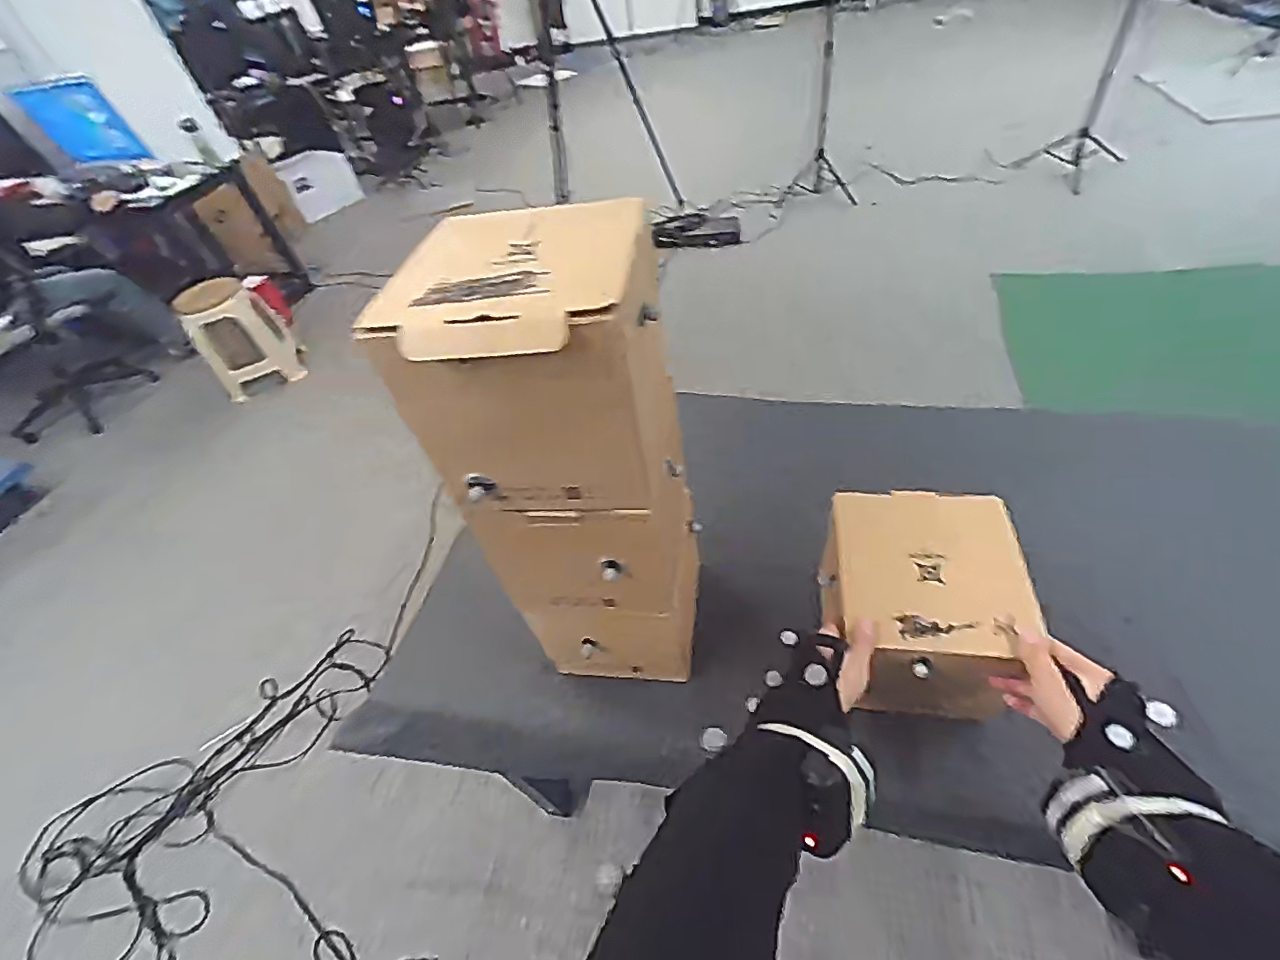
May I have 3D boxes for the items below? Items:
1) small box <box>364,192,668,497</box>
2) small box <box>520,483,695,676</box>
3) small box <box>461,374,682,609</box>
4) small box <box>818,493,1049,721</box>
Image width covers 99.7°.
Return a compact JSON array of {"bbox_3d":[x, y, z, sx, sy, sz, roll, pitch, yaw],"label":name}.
[{"bbox_3d":[-0.069,-0.100,0.426,0.168,0.176,0.179,0,46,9],"label":"small box"},{"bbox_3d":[-0.024,0.122,0.662,0.168,0.176,0.179,1,47,11],"label":"small box"},{"bbox_3d":[-0.048,0.013,0.543,0.168,0.176,0.179,1,46,10],"label":"small box"},{"bbox_3d":[0.287,0.135,0.580,0.168,0.176,0.179,2,51,12],"label":"small box"}]
